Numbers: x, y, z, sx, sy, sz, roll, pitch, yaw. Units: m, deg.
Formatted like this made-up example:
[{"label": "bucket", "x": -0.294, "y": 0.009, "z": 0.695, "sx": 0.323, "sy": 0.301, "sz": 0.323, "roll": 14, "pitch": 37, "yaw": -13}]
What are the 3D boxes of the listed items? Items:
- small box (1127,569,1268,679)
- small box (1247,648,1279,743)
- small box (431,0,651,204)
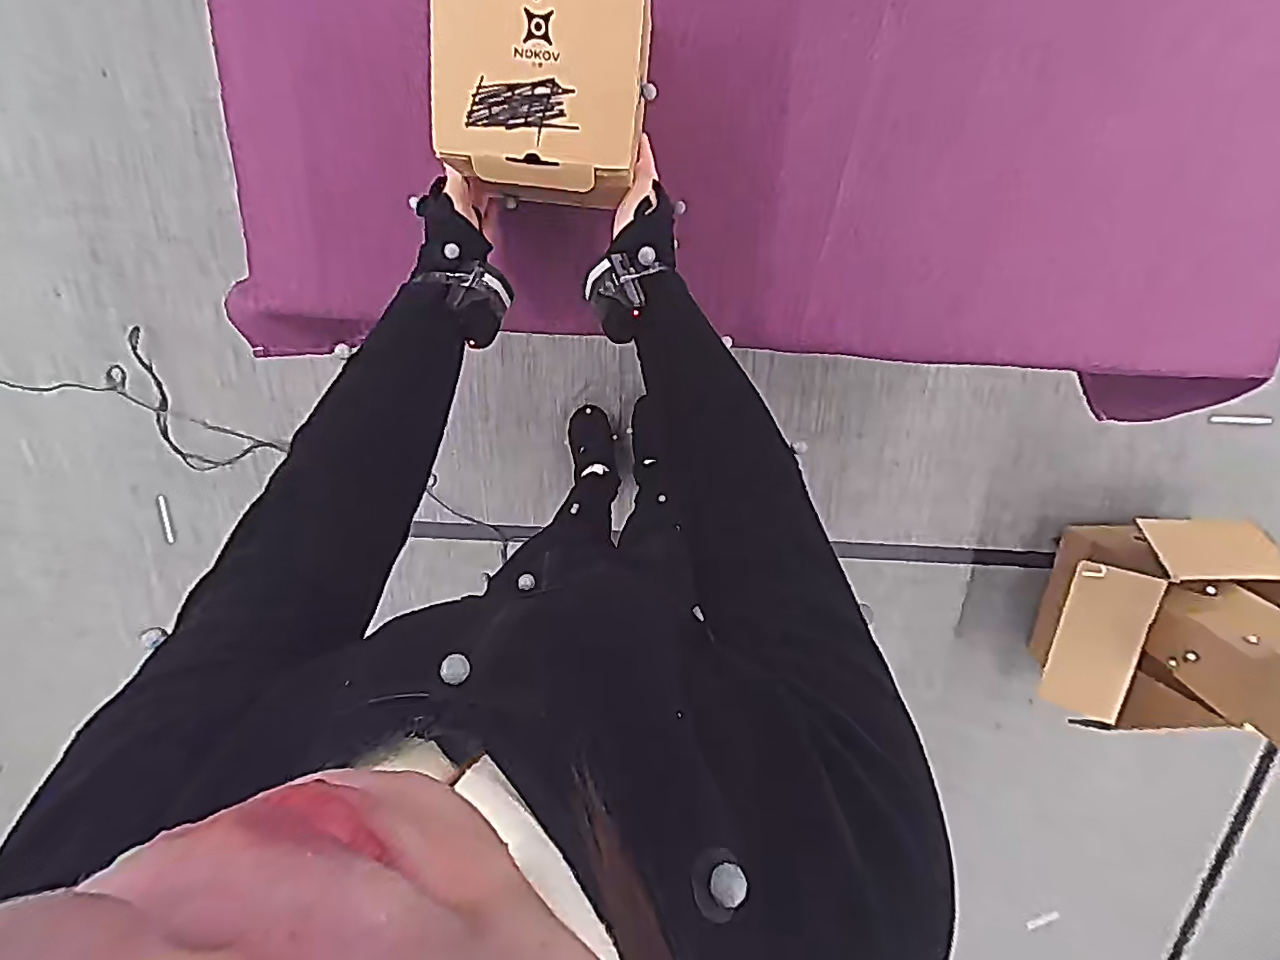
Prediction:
[{"label": "small box", "x": 1.296, "y": 0.328, "z": 1.270, "sx": 0.168, "sy": 0.176, "sz": 0.179, "roll": -17, "pitch": 109, "yaw": 9}, {"label": "small box", "x": 1.254, "y": 0.413, "z": 0.954, "sx": 0.168, "sy": 0.176, "sz": 0.179, "roll": -3, "pitch": 110, "yaw": 6}, {"label": "small box", "x": -0.079, "y": -0.367, "z": 0.496, "sx": 0.168, "sy": 0.176, "sz": 0.179, "roll": 5, "pitch": 106, "yaw": -1}]
